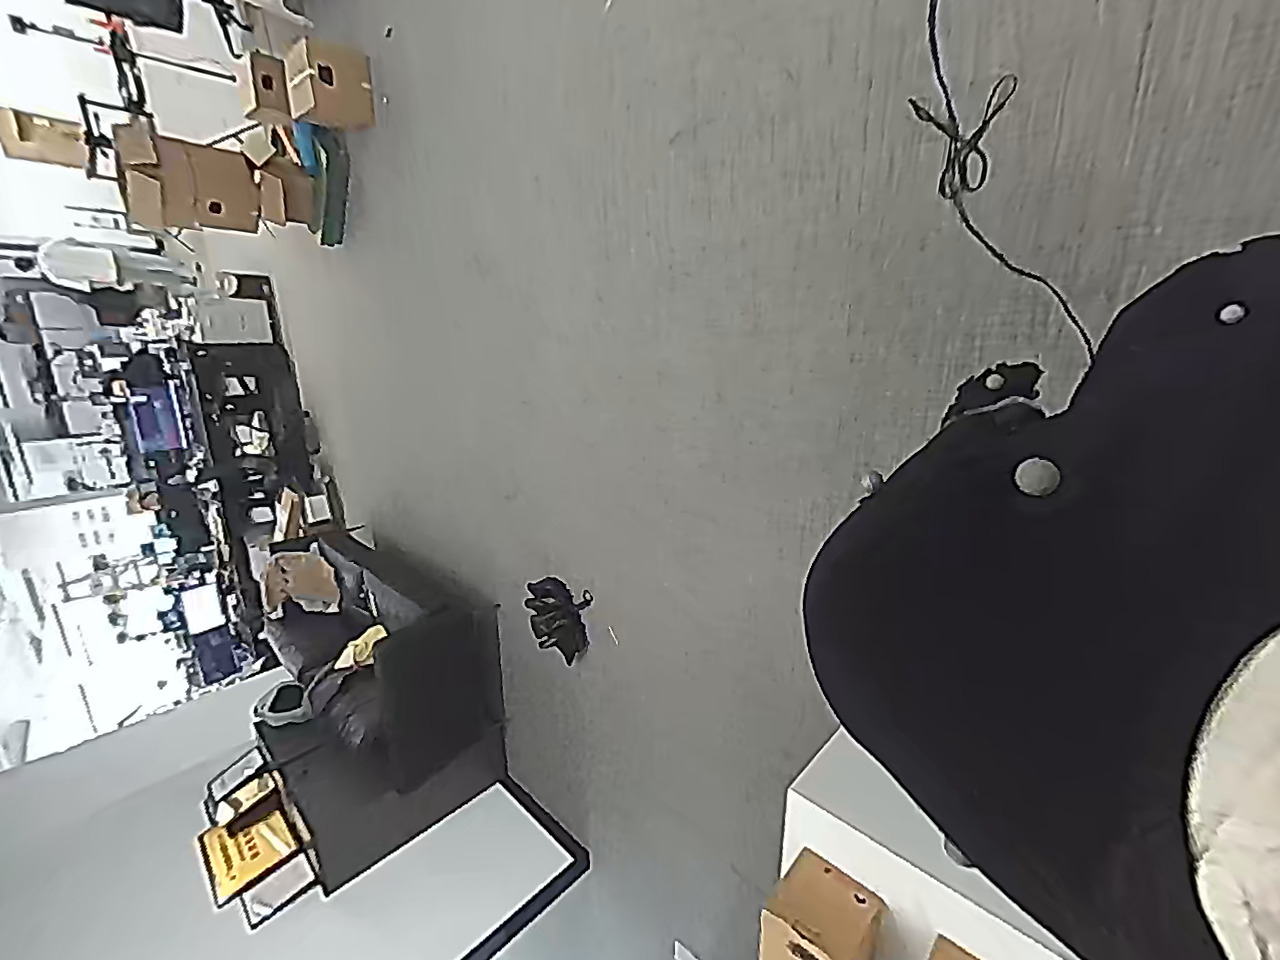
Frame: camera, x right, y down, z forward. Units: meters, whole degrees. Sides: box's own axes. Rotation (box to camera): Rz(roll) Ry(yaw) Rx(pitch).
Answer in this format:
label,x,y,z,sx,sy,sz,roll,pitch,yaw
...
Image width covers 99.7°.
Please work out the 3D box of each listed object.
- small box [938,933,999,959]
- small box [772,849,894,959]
label,x,y,z,sx,sy,sz,roll,pitch,yaw
small box,0.557,0.910,0.874,0.168,0.176,0.179,12,109,44
small box,0.376,0.878,1.051,0.168,0.176,0.179,14,112,43
